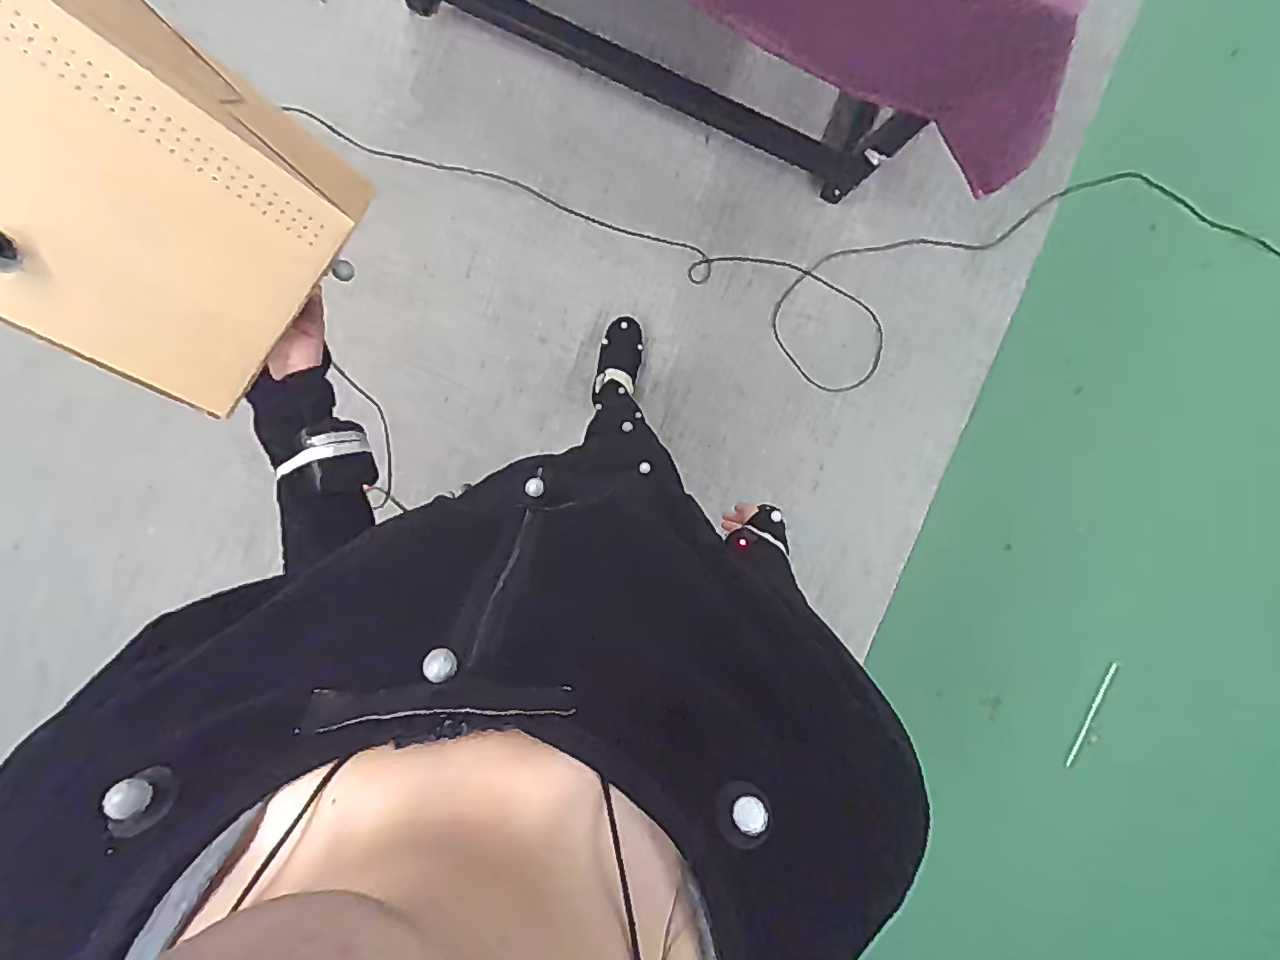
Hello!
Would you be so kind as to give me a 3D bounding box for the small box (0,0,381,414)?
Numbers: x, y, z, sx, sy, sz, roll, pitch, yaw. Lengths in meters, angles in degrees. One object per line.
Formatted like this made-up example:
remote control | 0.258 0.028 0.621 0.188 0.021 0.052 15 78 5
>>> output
small box | -0.305 -0.184 0.363 0.179 0.168 0.176 33 109 -36
